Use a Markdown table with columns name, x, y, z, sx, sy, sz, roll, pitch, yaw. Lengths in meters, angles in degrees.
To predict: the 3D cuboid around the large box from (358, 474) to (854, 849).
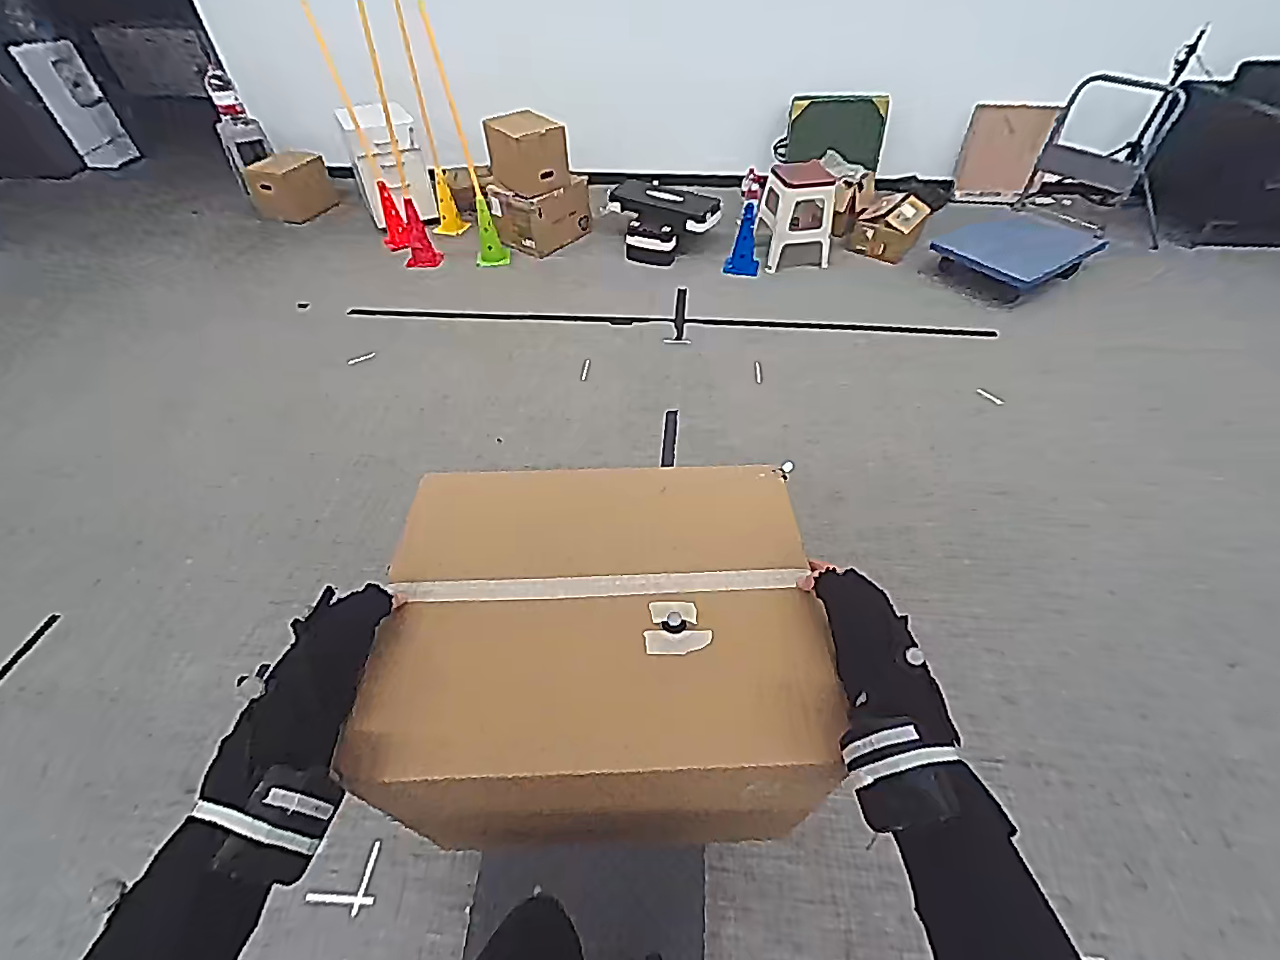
| name | x | y | z | sx | sy | sz | roll | pitch | yaw |
| --- | --- | --- | --- | --- | --- | --- | --- | --- | --- |
| large box | -0.032 | 0.212 | 0.635 | 0.408 | 0.320 | 0.320 | -1 | 47 | -1 |
